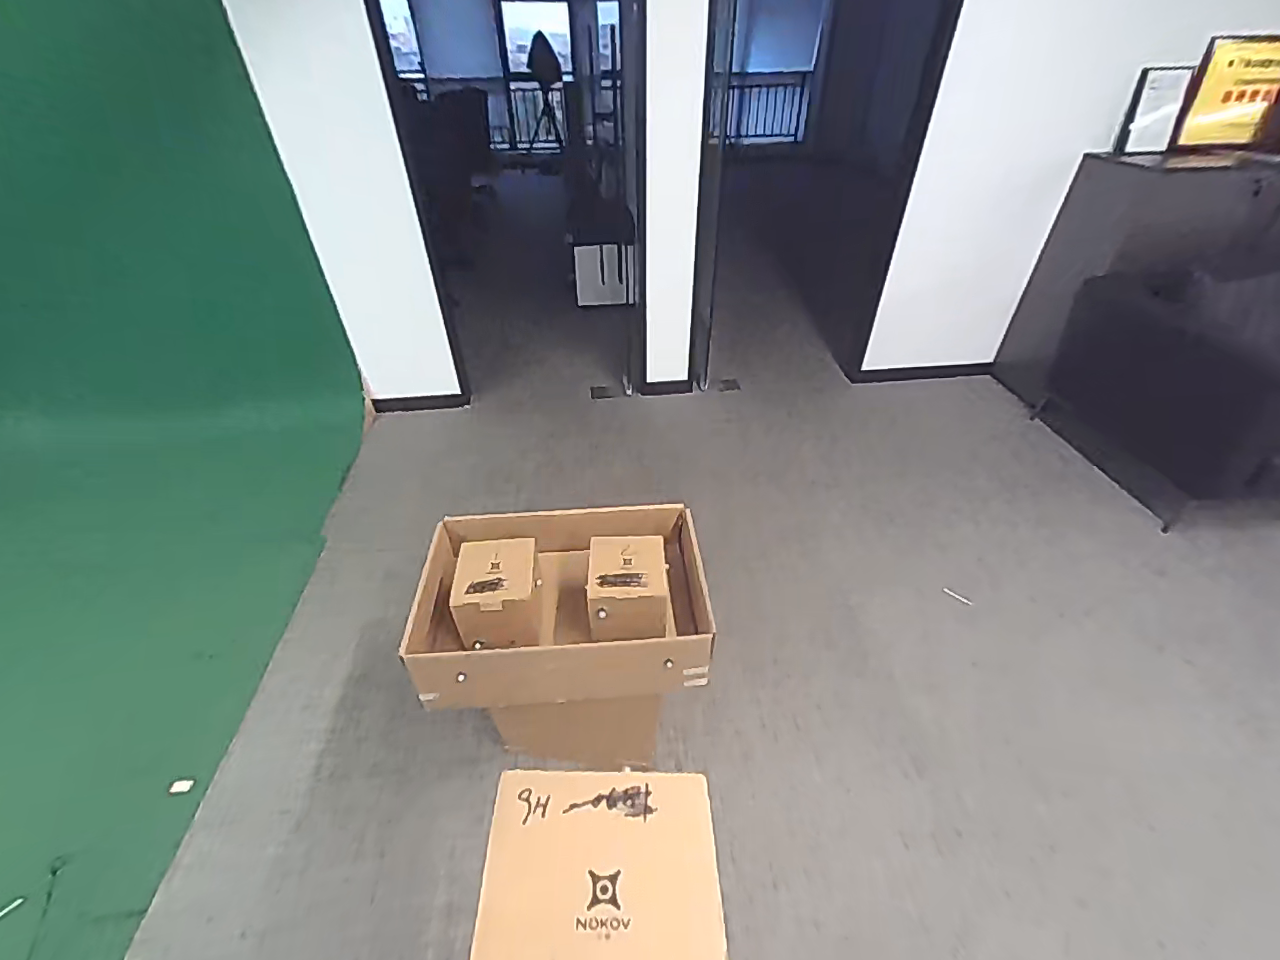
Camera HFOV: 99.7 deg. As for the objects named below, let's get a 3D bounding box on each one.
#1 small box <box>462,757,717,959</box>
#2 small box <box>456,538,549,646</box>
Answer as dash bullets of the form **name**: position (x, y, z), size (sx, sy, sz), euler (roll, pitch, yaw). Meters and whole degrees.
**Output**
- **small box**: position (-0.037, 0.343, 0.421), size (0.168, 0.176, 0.179), euler (4, 39, -4)
- **small box**: position (-0.298, 0.255, 1.210), size (0.168, 0.176, 0.179), euler (-4, 39, -4)
